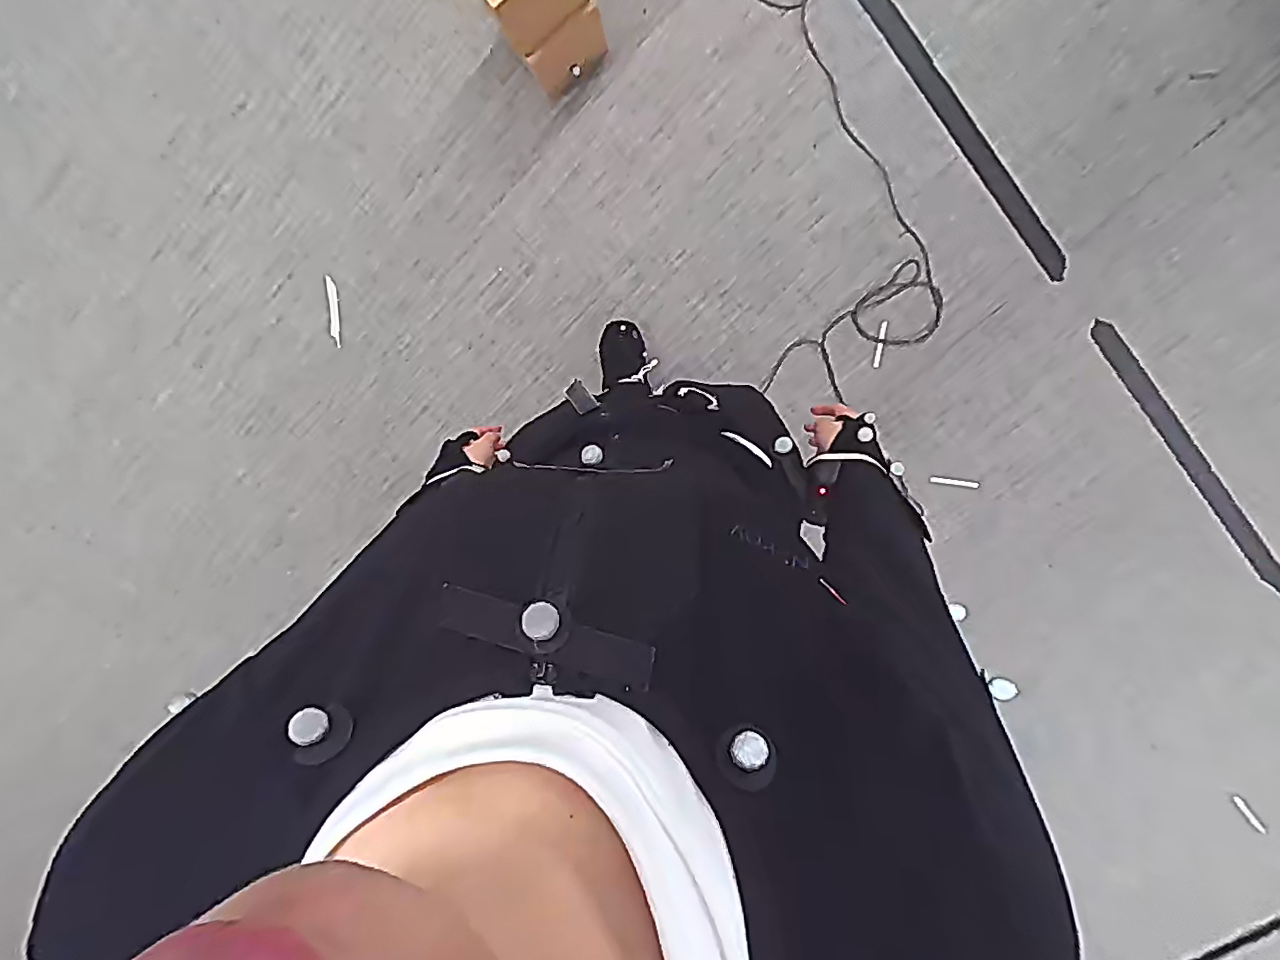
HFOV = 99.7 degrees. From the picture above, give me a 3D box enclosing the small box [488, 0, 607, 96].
[{"bbox_3d":[-0.182,-0.912,1.061,0.168,0.176,0.179,-34,102,11],"label":"small box"}]
